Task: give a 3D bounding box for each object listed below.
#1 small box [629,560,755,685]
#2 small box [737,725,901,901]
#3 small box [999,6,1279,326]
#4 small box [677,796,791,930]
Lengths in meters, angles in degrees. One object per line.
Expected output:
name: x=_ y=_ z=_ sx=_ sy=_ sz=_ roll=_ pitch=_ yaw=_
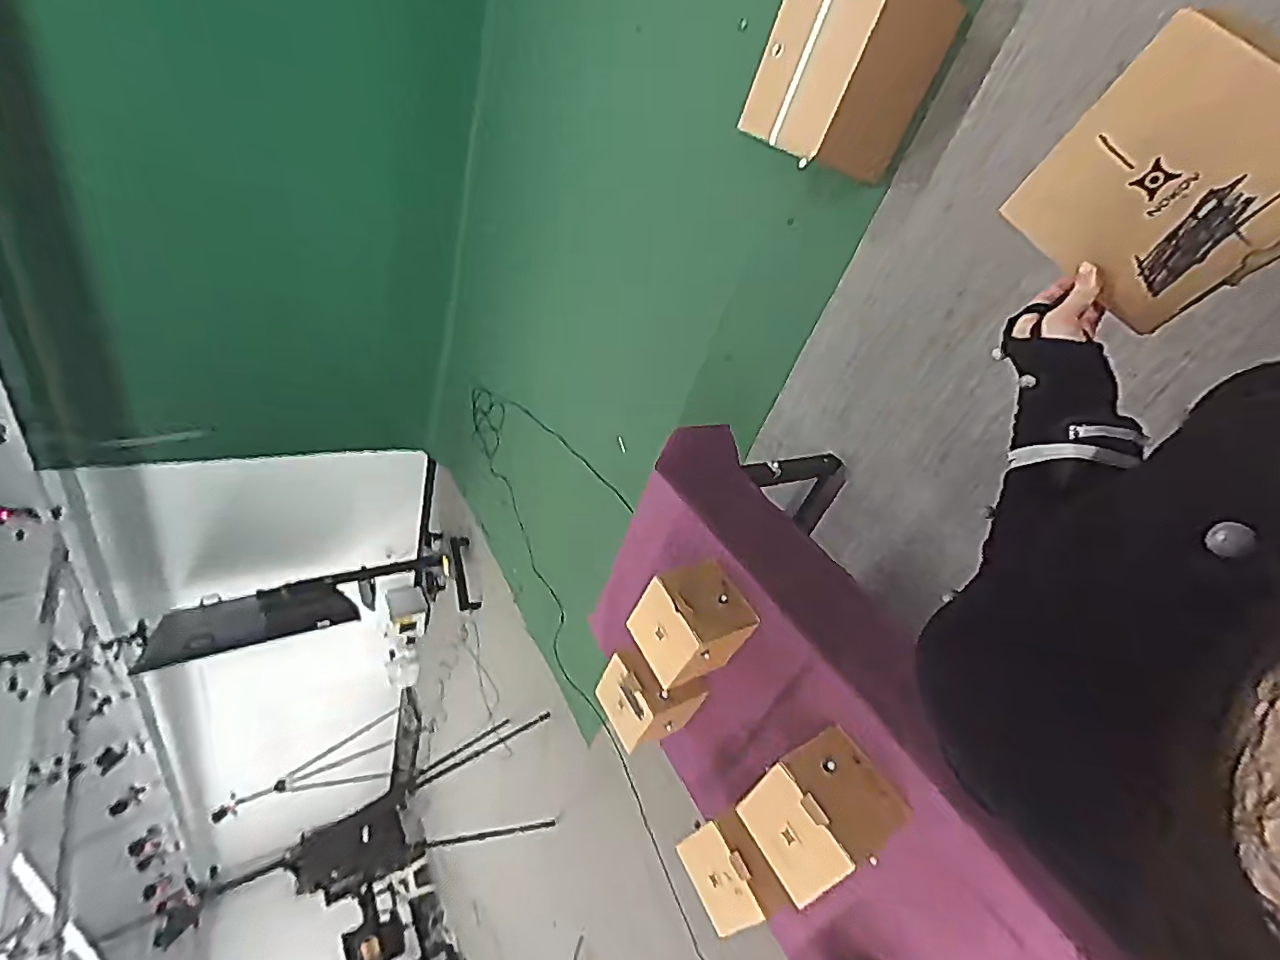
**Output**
small box: x=0.108 y=0.292 z=1.129 sx=0.168 sy=0.176 sz=0.179 roll=54 pitch=134 yaw=33
small box: x=0.303 y=0.549 z=0.911 sx=0.168 sy=0.176 sz=0.179 roll=51 pitch=134 yaw=37
small box: x=0.478 y=-0.272 z=0.472 sx=0.179 sy=0.176 sz=0.168 roll=54 pitch=149 yaw=16
small box: x=0.209 y=0.733 z=1.064 sx=0.168 sy=0.176 sz=0.179 roll=56 pitch=135 yaw=31
